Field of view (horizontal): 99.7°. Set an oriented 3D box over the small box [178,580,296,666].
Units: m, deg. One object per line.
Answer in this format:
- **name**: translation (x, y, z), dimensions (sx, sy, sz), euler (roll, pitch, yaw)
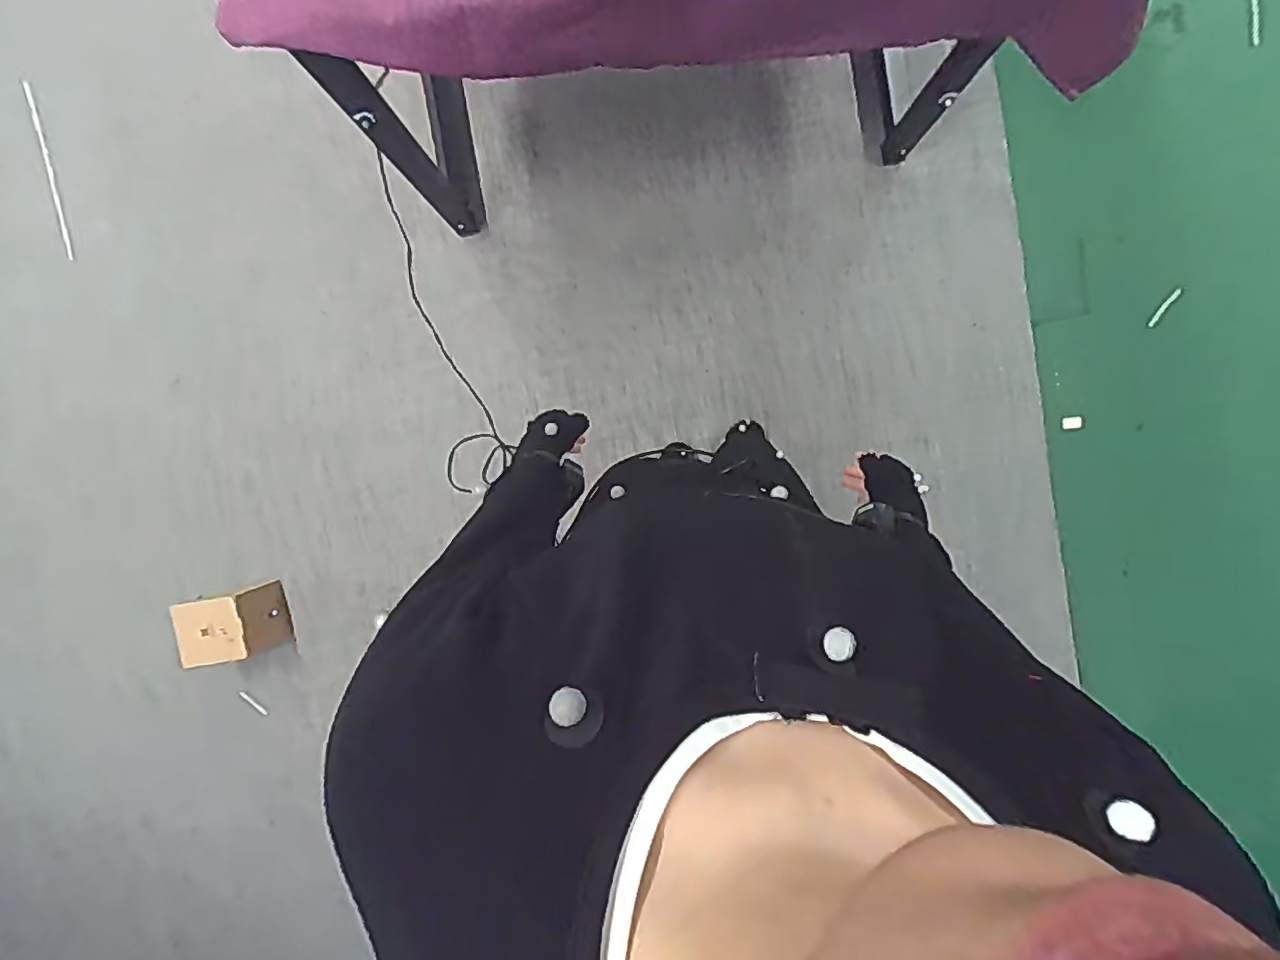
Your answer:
- **small box**: translation (-1.073, 0.379, 1.451), dimensions (0.179, 0.176, 0.168), euler (-10, 94, 2)
